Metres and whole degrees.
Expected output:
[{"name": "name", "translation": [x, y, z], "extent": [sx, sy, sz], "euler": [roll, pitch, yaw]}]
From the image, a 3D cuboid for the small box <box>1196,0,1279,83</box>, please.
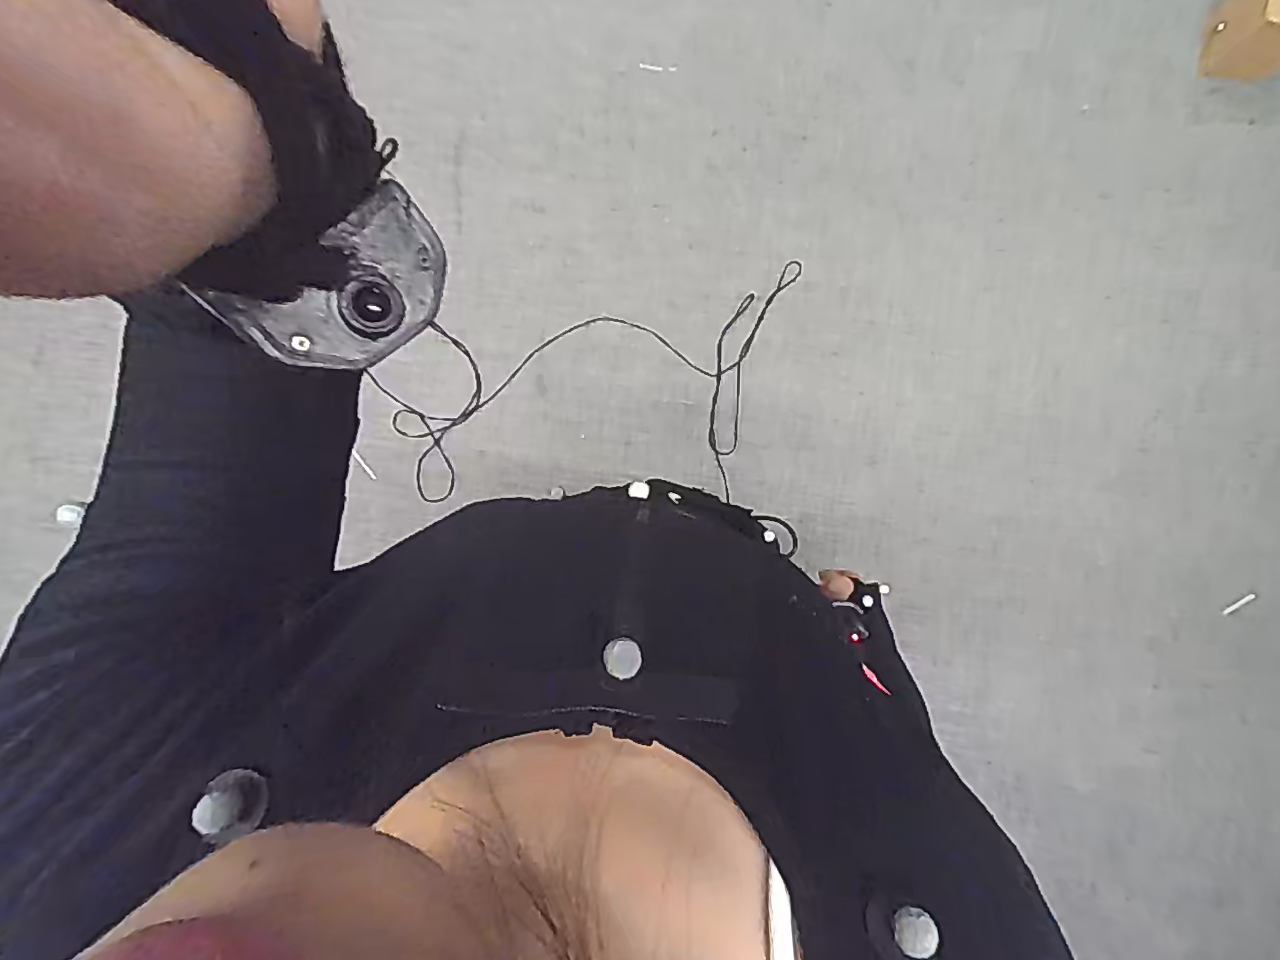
[{"name": "small box", "translation": [1.615, -1.172, 1.393], "extent": [0.179, 0.176, 0.168], "euler": [13, 89, 2]}]
